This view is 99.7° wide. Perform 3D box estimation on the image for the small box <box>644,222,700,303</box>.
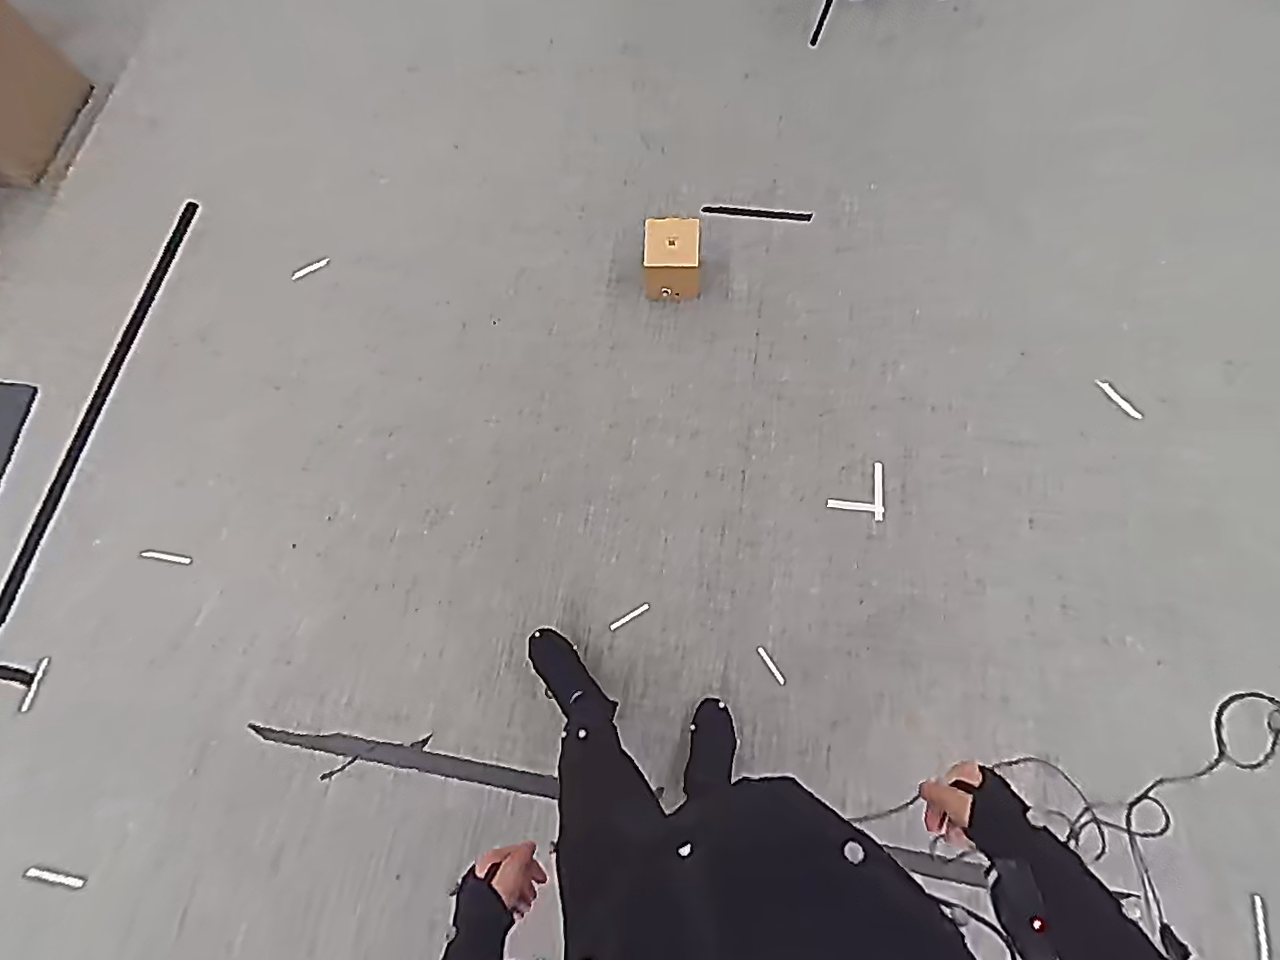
[{"bbox_3d":[0.100,-0.686,1.712,0.168,0.176,0.179,2,74,3],"label":"small box"}]
